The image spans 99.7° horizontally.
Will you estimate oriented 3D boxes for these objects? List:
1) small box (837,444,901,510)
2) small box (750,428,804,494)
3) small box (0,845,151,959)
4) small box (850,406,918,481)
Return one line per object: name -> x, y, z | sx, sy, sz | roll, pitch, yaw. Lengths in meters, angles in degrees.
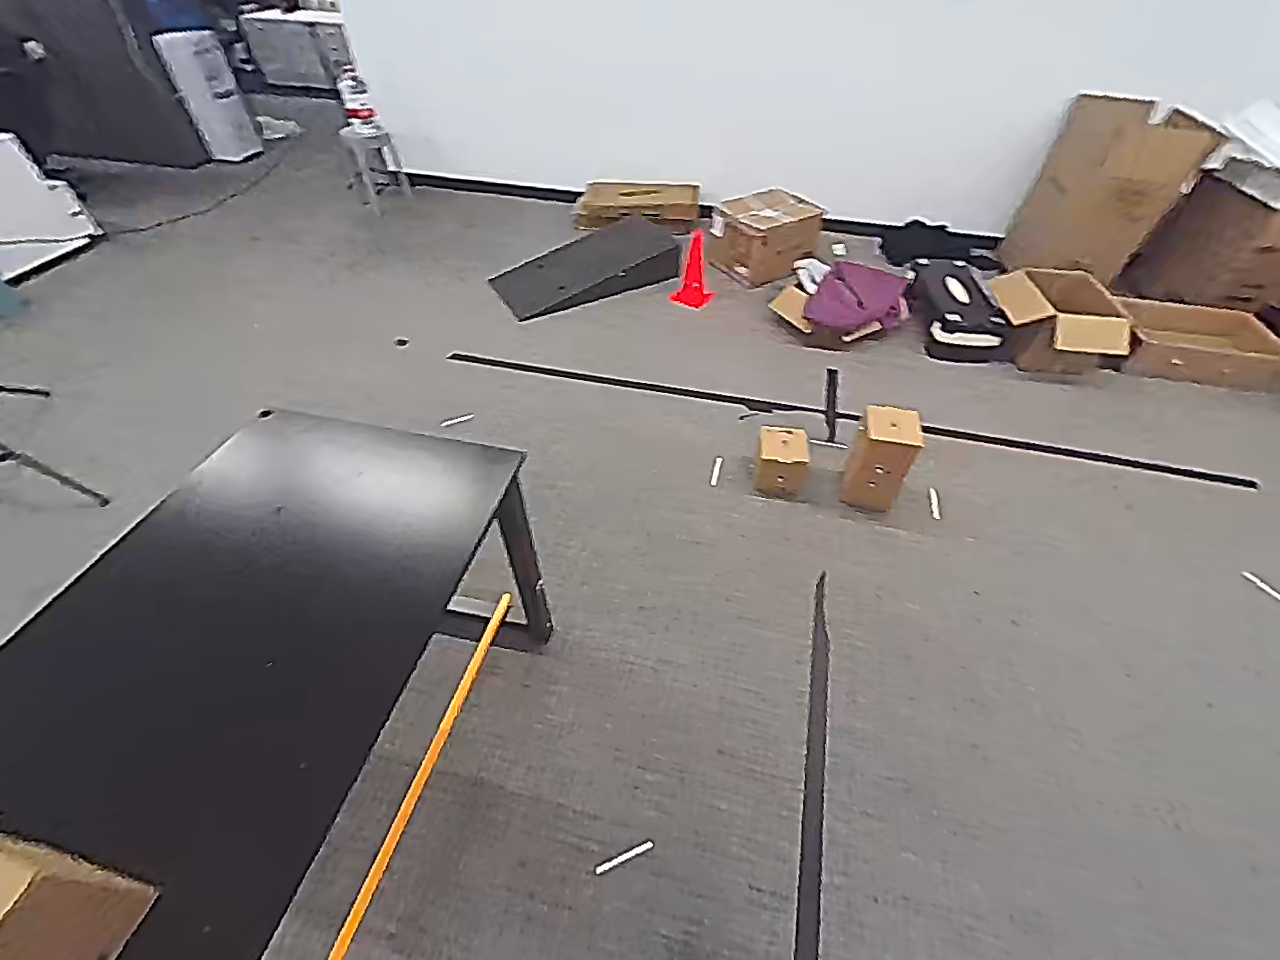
small box -> 0.825, -0.013, 1.957 | 0.179, 0.176, 0.168 | 14, 49, 10
small box -> 0.502, -0.068, 2.000 | 0.168, 0.176, 0.179 | 6, 48, 5
small box -> -0.639, 0.455, 0.505 | 0.179, 0.176, 0.168 | 11, 48, 9
small box -> 0.822, -0.125, 1.839 | 0.168, 0.176, 0.179 | 8, 49, 8
